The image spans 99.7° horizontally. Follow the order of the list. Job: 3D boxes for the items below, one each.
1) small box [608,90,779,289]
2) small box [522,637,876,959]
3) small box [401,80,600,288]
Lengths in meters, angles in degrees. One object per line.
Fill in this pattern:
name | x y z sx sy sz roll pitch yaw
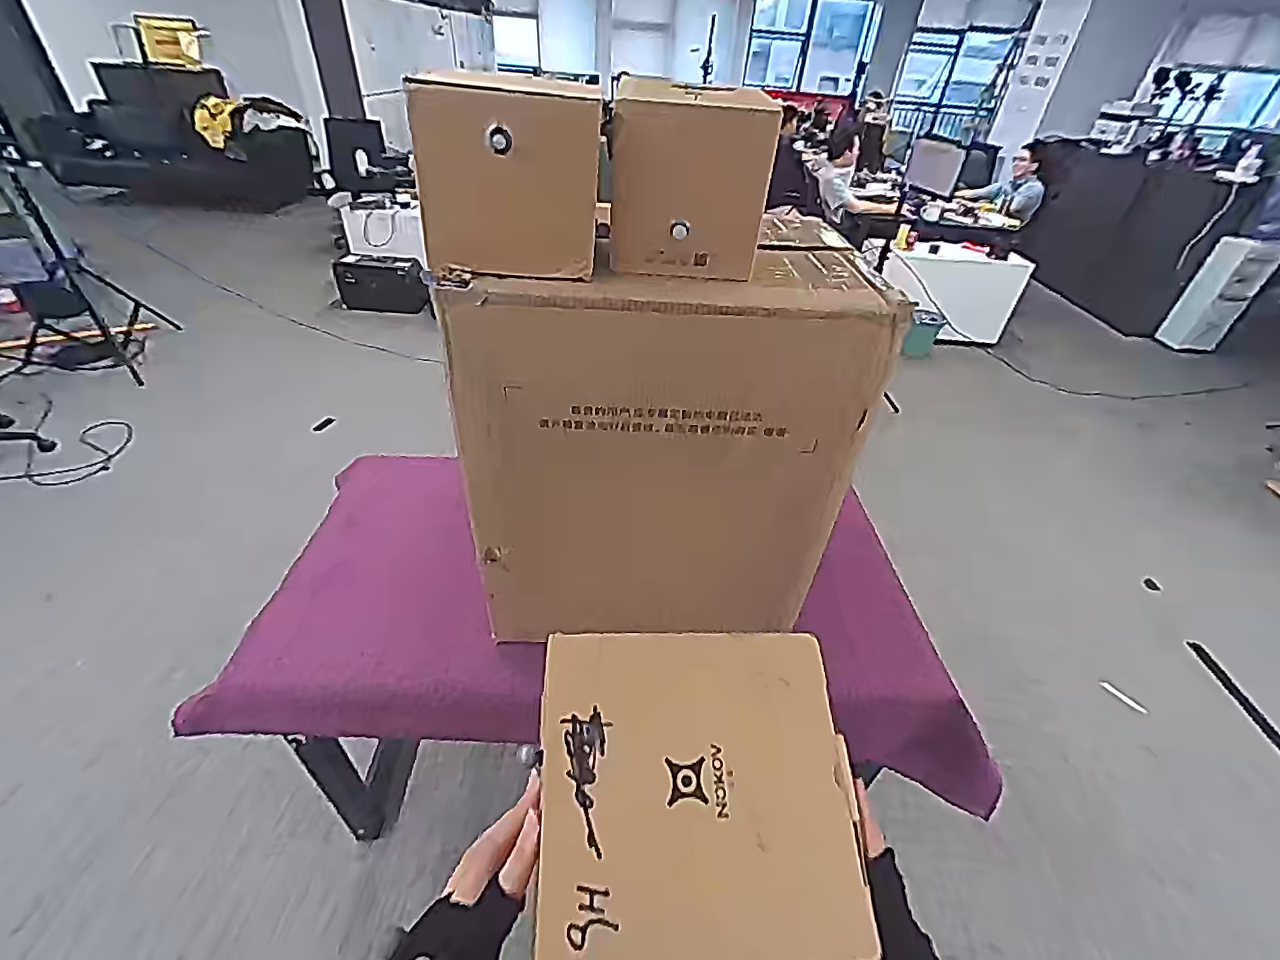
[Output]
small box | 0.051 -0.341 0.634 0.168 0.176 0.179 3 41 -1
small box | 0.018 0.212 0.364 0.179 0.176 0.168 4 57 -10
small box | -0.135 -0.320 0.589 0.179 0.176 0.168 3 38 -6
